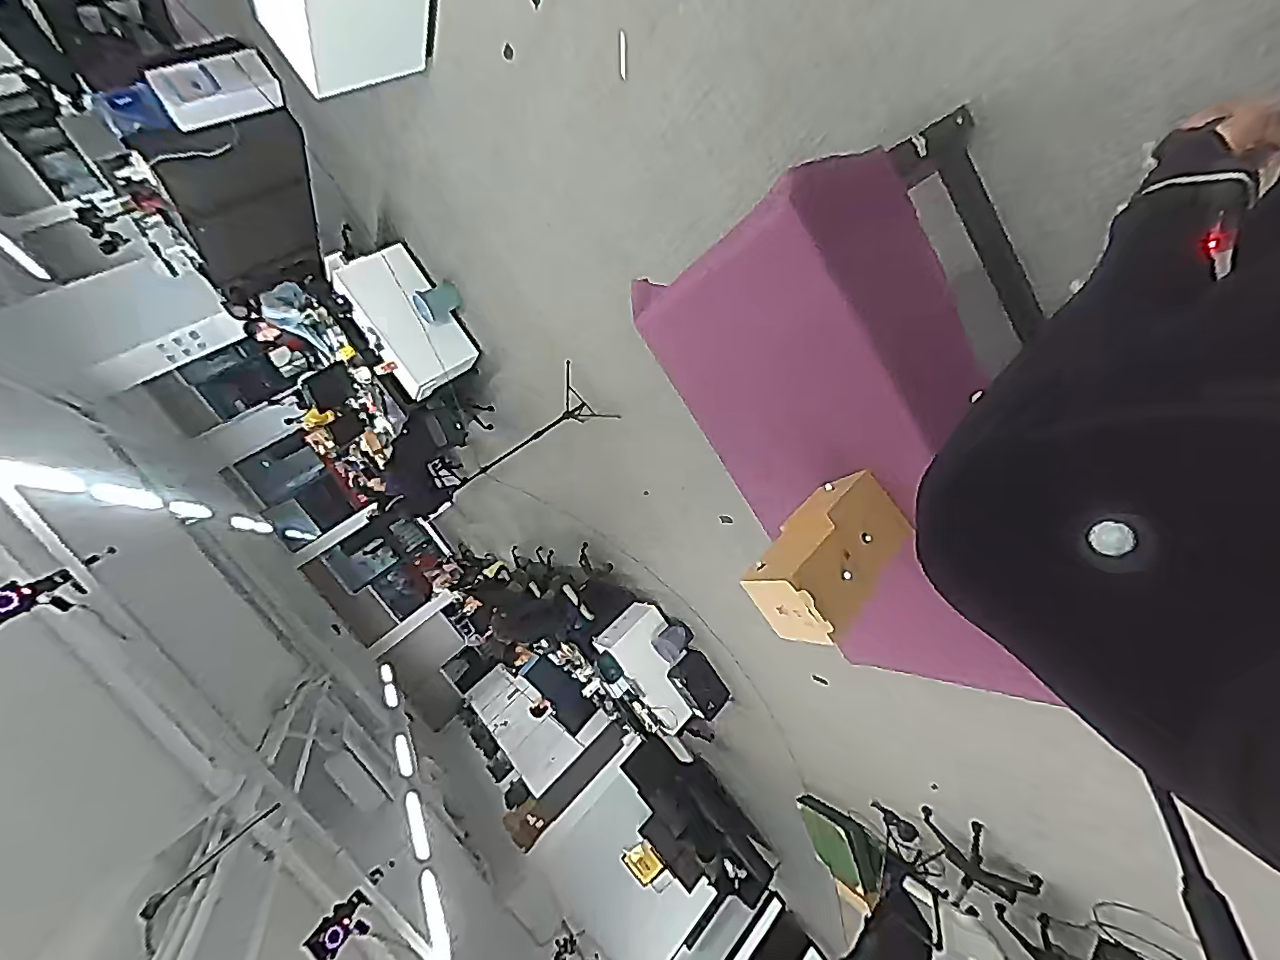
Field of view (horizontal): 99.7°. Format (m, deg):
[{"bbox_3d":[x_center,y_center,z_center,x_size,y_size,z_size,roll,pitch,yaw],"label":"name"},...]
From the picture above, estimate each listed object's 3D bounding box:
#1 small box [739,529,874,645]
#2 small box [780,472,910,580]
[{"bbox_3d":[0.352,0.222,1.145,0.168,0.176,0.179,53,154,-6],"label":"small box"},{"bbox_3d":[0.458,0.110,1.206,0.179,0.176,0.168,52,154,-1],"label":"small box"}]
